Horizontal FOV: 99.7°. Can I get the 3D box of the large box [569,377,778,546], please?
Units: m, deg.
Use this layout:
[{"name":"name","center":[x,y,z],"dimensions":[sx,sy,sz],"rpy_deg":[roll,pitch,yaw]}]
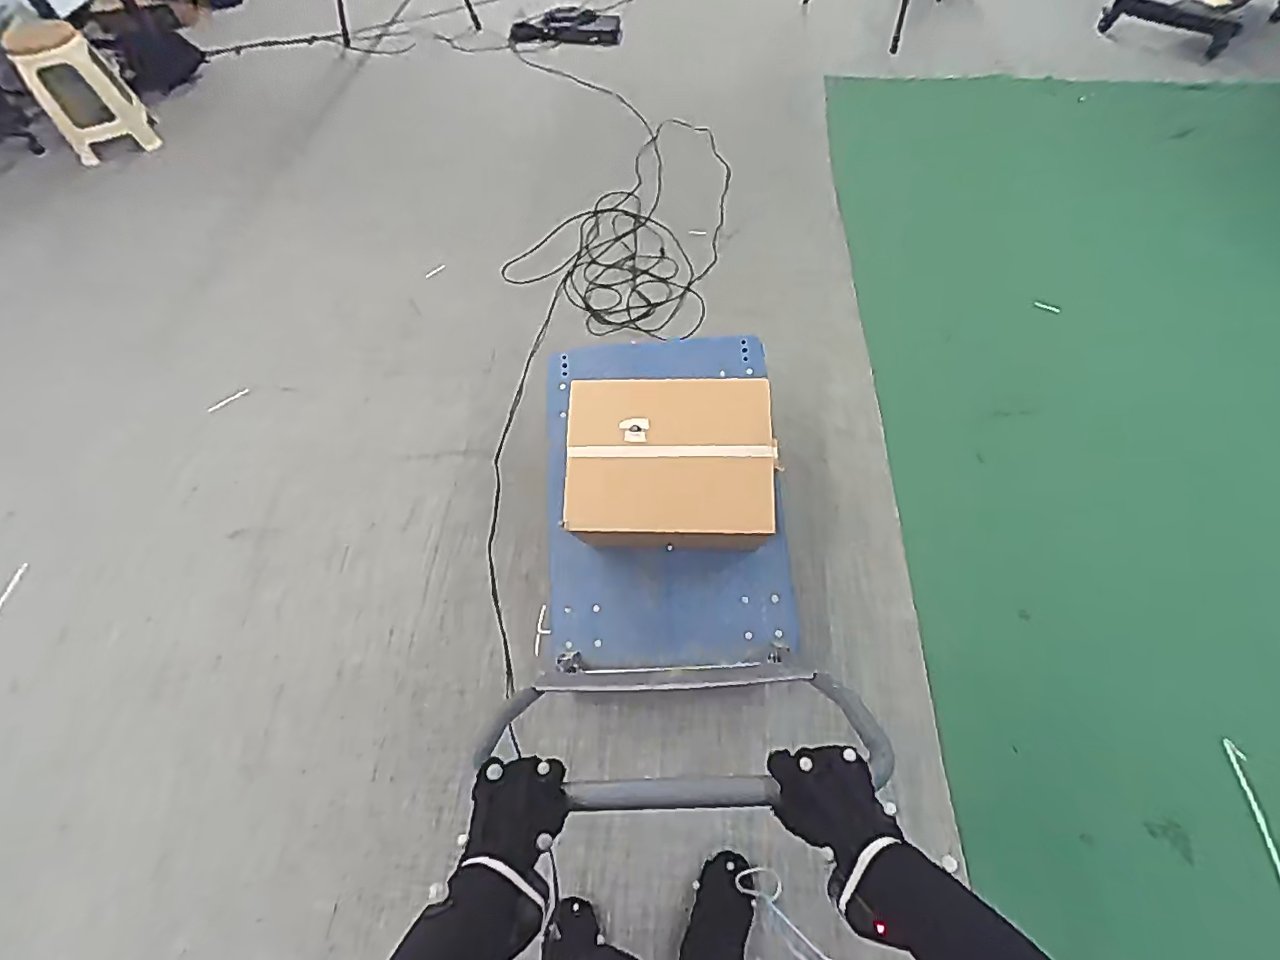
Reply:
[{"name":"large box","center":[0.078,-0.018,1.199],"dimensions":[0.408,0.320,0.320],"rpy_deg":[-1,77,6]}]
